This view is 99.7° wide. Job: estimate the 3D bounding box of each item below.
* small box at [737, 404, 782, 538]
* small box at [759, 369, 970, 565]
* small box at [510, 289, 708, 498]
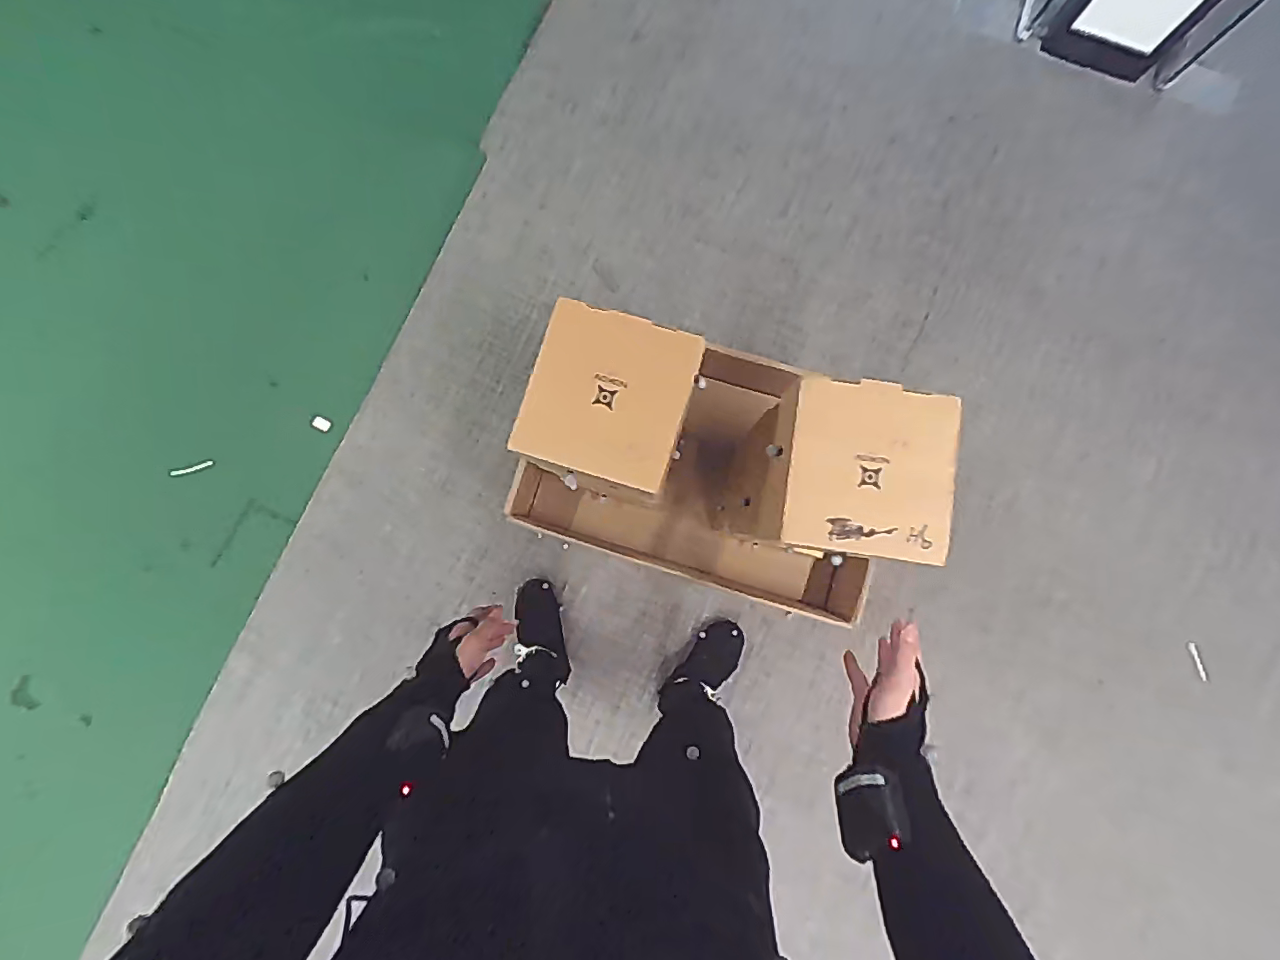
[{"bbox_3d":[0.241,0.007,0.778,0.168,0.176,0.179,10,85,2],"label":"small box"},{"bbox_3d":[0.239,-0.006,0.614,0.168,0.176,0.179,9,84,3],"label":"small box"},{"bbox_3d":[-0.028,-0.086,0.631,0.168,0.176,0.179,17,84,4],"label":"small box"}]
